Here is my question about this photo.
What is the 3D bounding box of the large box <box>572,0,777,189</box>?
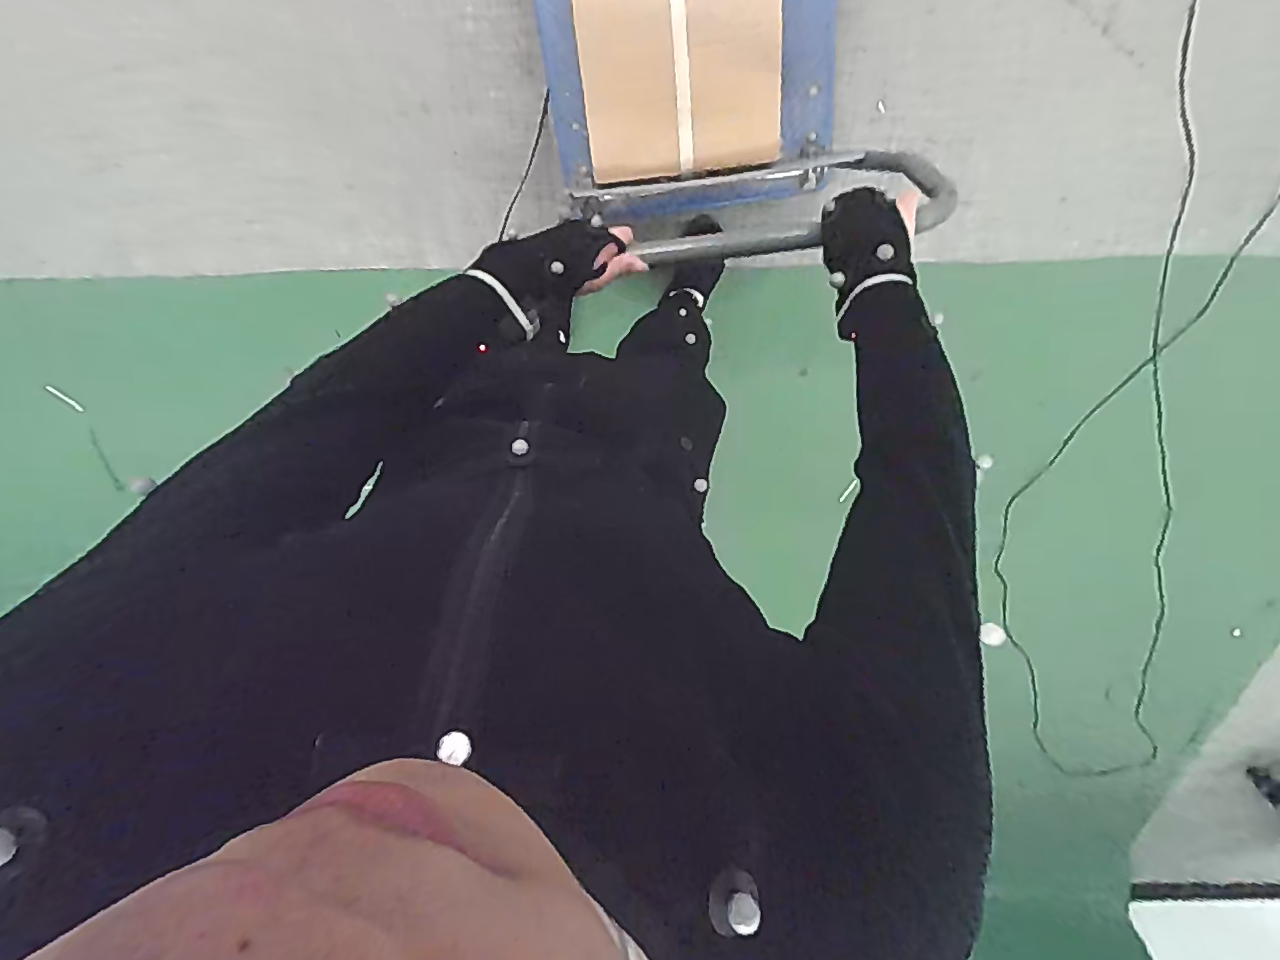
[{"bbox_3d":[0.060,-0.767,0.967,0.320,0.320,0.408,-5,117,4],"label":"large box"}]
